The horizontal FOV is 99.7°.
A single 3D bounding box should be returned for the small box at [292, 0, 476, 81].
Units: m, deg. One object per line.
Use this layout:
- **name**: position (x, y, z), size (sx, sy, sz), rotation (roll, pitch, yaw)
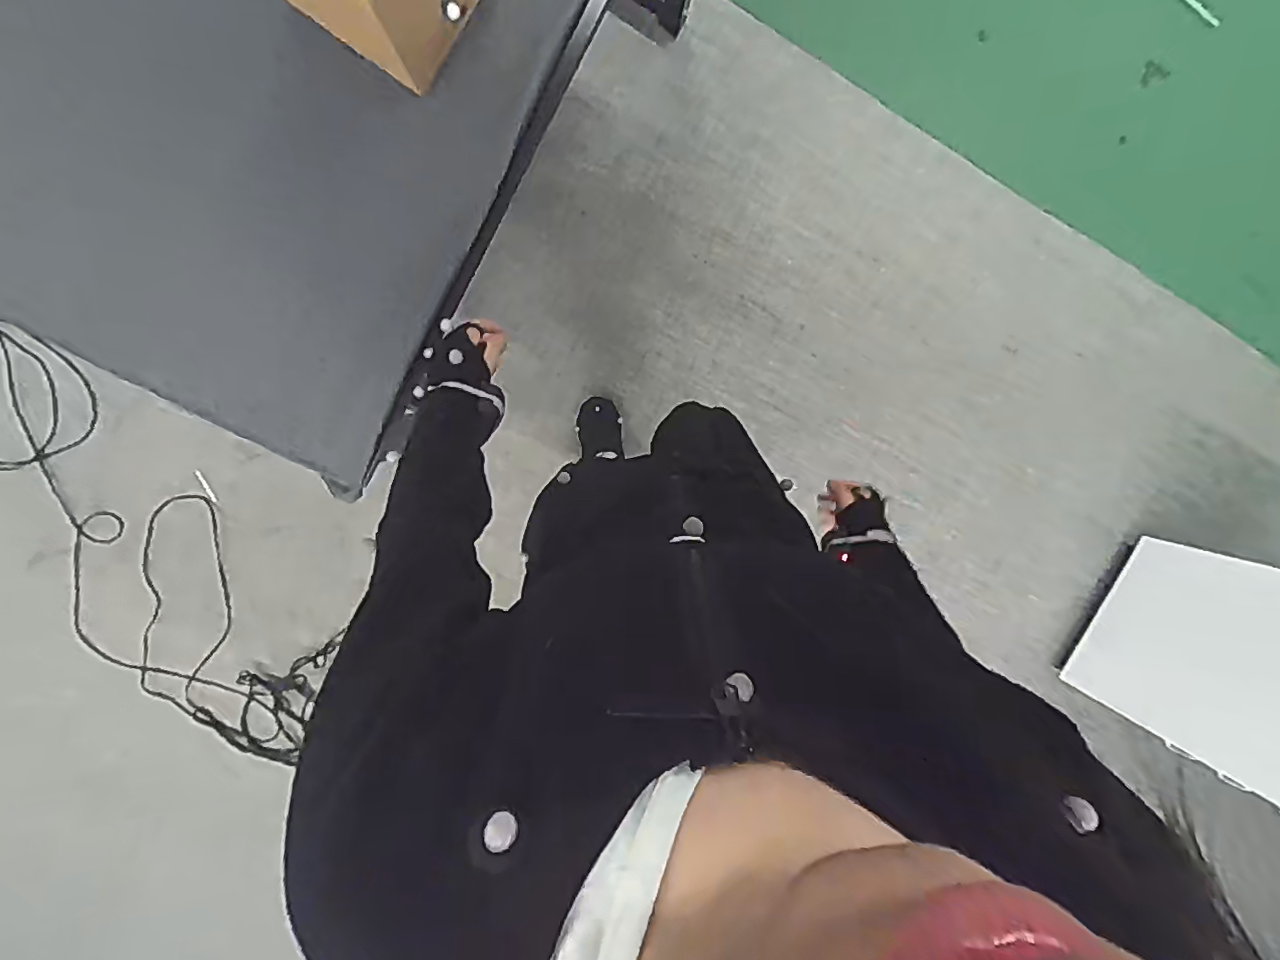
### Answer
- **small box**: position (-0.285, -0.565, 0.548), size (0.179, 0.176, 0.168), rotation (32, 94, -9)
